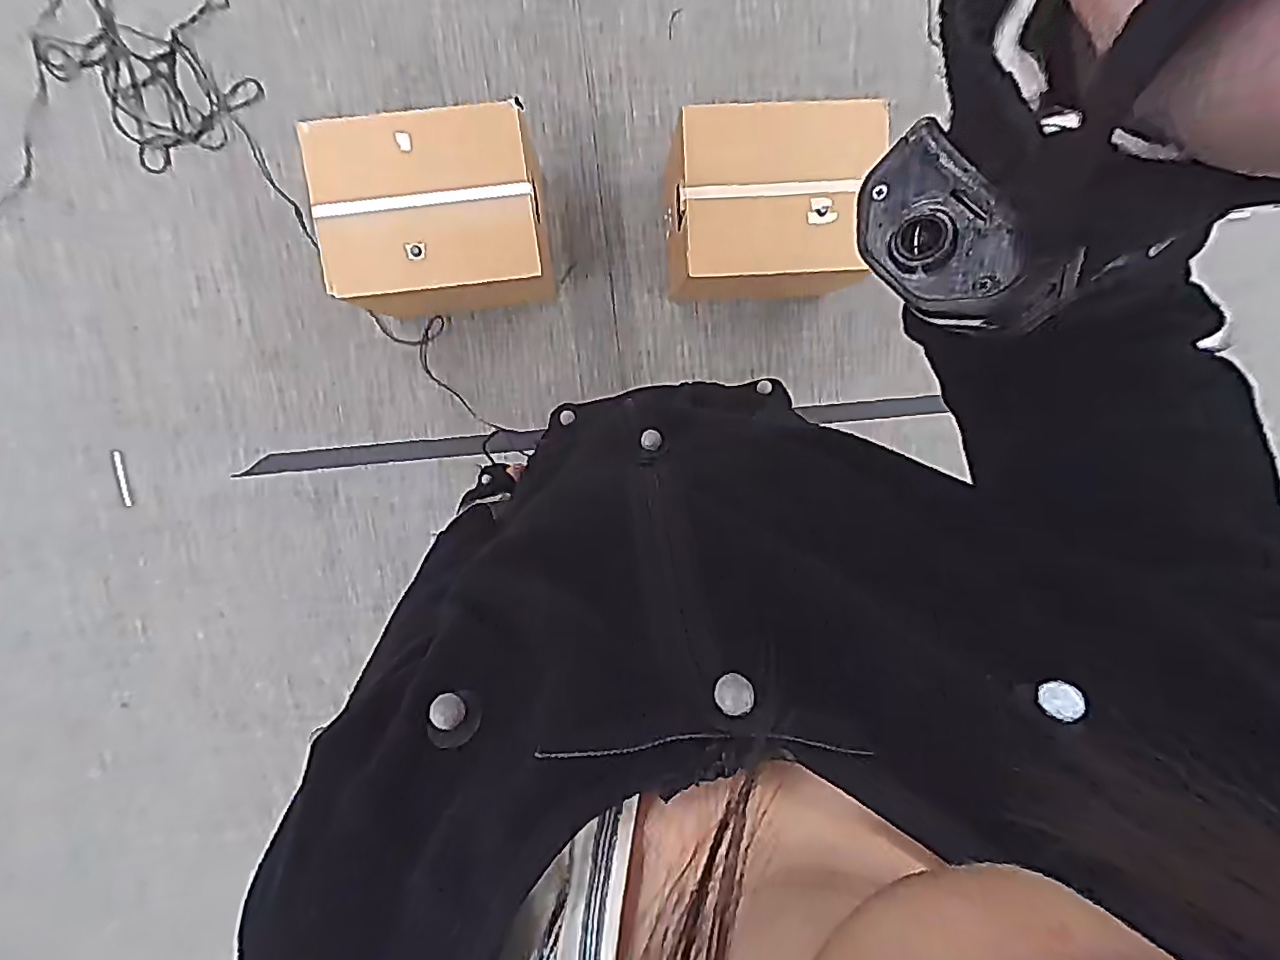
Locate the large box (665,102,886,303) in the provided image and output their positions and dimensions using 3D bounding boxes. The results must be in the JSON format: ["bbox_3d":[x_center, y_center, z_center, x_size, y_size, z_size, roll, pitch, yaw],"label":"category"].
[{"bbox_3d":[0.278,-0.591,1.207,0.408,0.320,0.320,-4,99,-4],"label":"large box"}]
